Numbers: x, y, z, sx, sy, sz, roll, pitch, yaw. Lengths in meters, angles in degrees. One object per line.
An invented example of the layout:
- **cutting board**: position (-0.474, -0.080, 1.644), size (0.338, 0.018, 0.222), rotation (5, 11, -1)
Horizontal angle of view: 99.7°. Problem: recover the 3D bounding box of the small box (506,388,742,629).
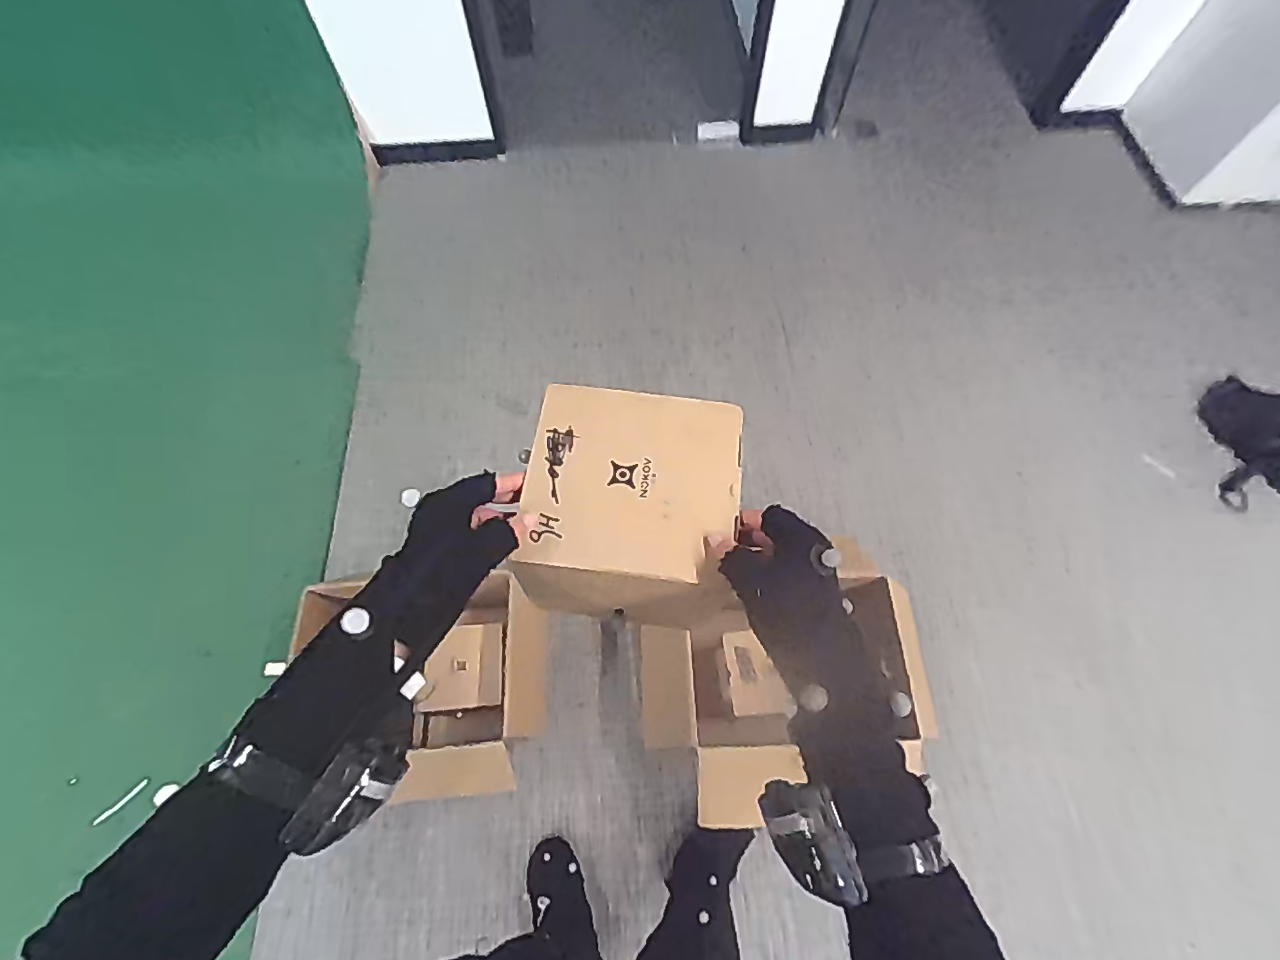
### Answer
- **small box**: position (-0.011, 0.037, 0.509), size (0.179, 0.176, 0.168), rotation (7, 63, 0)
